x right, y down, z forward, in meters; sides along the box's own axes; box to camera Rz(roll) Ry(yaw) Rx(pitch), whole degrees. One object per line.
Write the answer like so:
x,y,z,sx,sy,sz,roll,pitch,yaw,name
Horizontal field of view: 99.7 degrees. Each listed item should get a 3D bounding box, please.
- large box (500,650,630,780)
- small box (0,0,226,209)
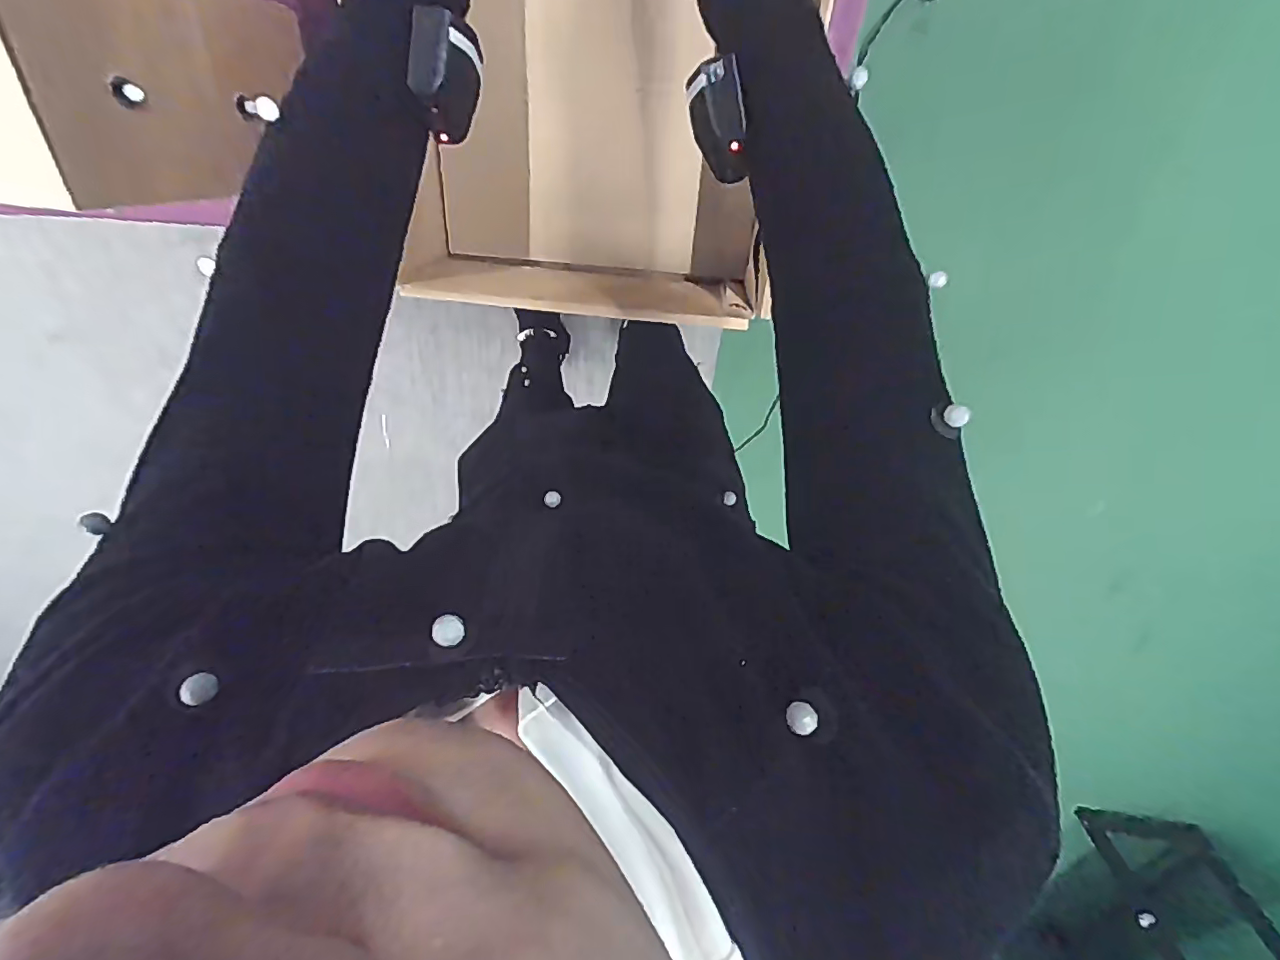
-0.290,0.956,2.204,0.408,0.320,0.320,-23,119,16,large box
-0.481,-0.325,0.423,0.168,0.176,0.179,7,122,0,small box
